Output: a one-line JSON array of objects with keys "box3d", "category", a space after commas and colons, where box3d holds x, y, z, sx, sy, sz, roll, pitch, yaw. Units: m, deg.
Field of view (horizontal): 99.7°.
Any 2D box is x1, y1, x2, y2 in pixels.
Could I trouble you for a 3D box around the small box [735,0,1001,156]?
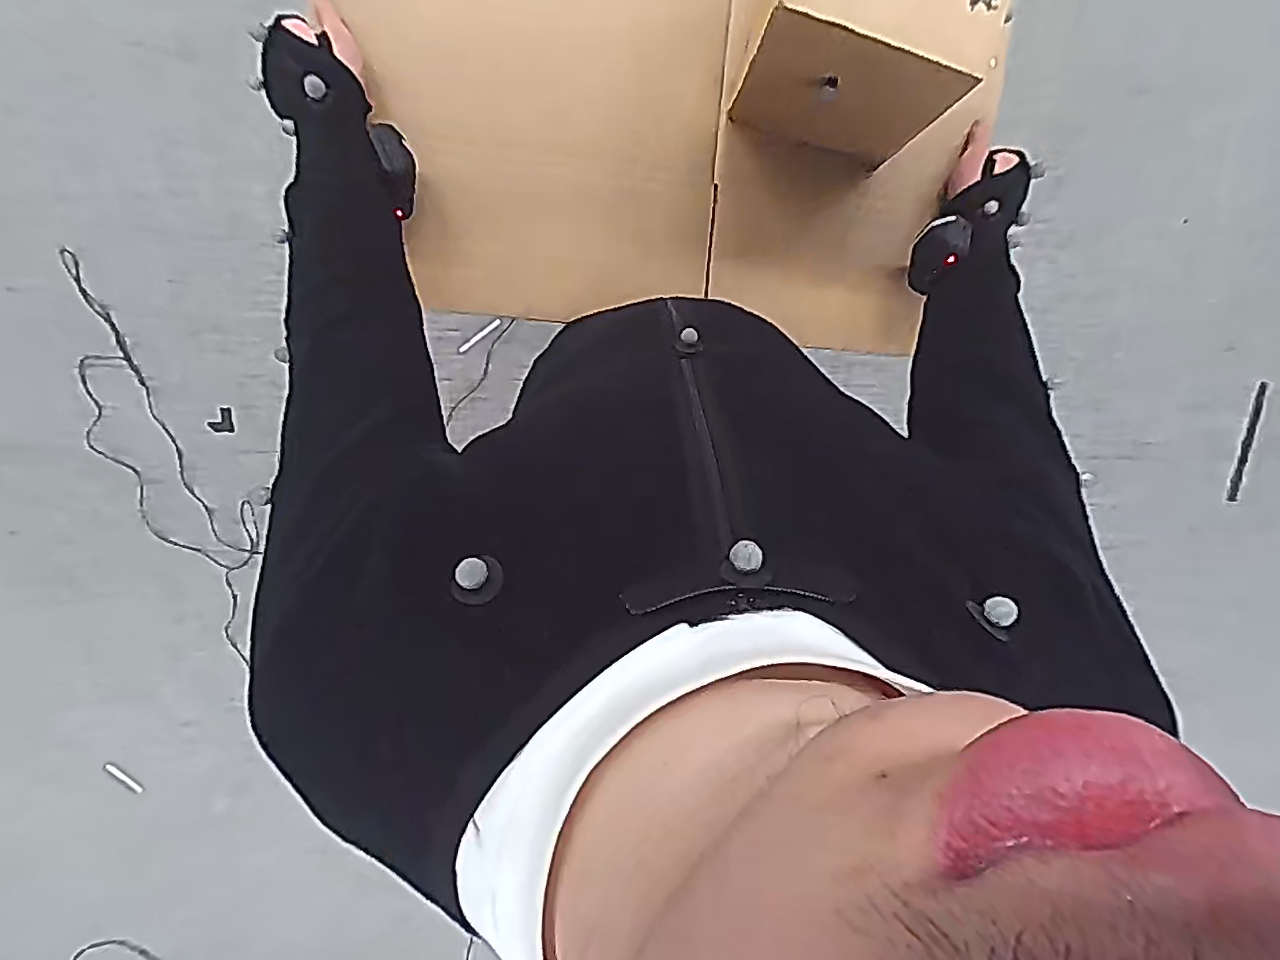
[{"box3d": [0.200, -0.429, 0.489, 0.179, 0.176, 0.168, 14, 98, -5], "category": "small box"}]
